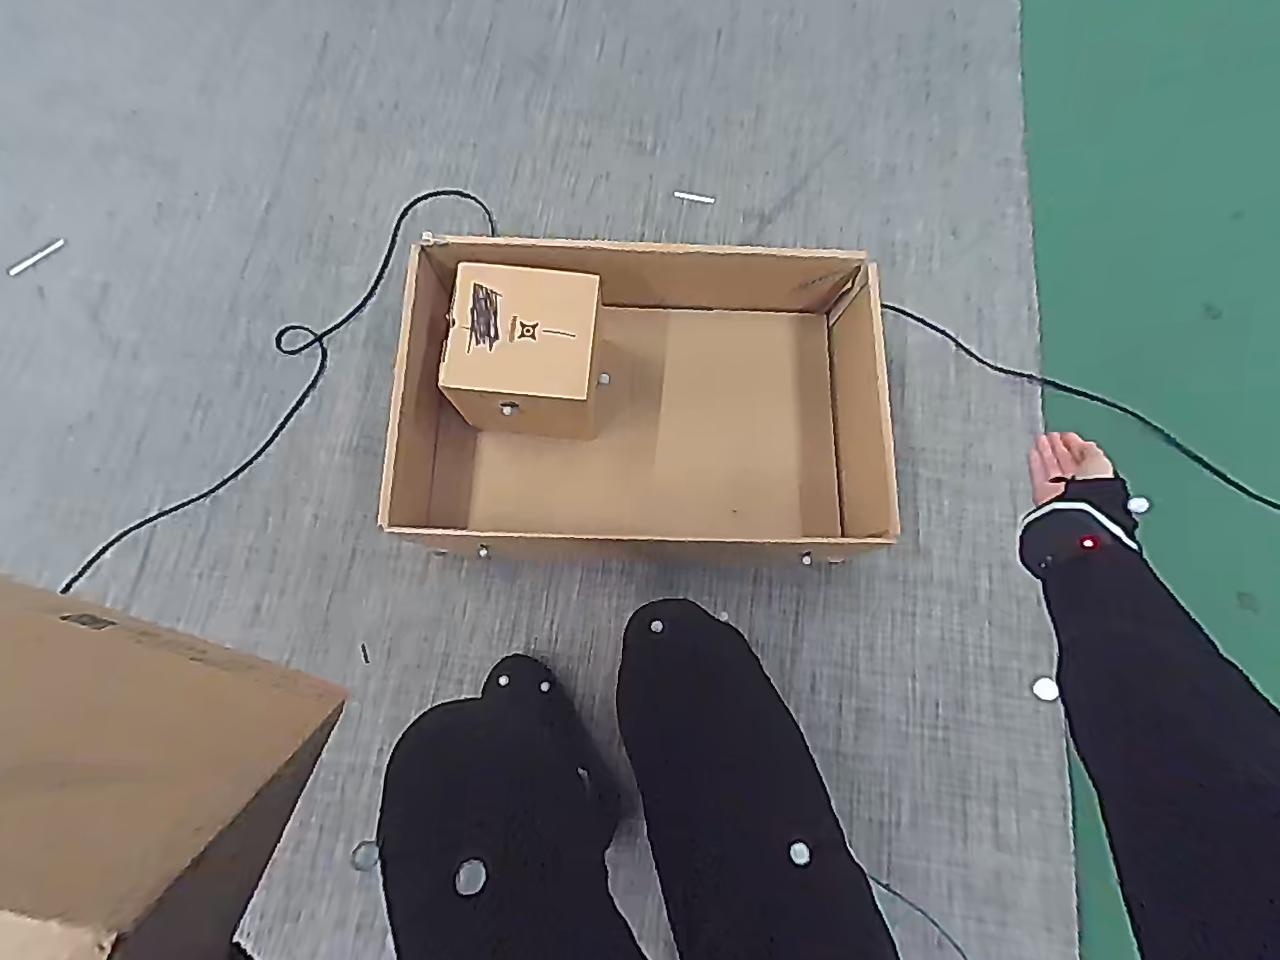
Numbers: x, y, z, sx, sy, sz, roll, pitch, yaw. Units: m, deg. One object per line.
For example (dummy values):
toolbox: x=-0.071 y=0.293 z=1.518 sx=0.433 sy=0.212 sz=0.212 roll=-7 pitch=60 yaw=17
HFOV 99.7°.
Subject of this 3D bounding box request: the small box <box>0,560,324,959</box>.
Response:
small box: x=-0.222 y=0.132 z=0.146 sx=0.168 sy=0.176 sz=0.179 roll=25 pitch=79 yaw=-12
